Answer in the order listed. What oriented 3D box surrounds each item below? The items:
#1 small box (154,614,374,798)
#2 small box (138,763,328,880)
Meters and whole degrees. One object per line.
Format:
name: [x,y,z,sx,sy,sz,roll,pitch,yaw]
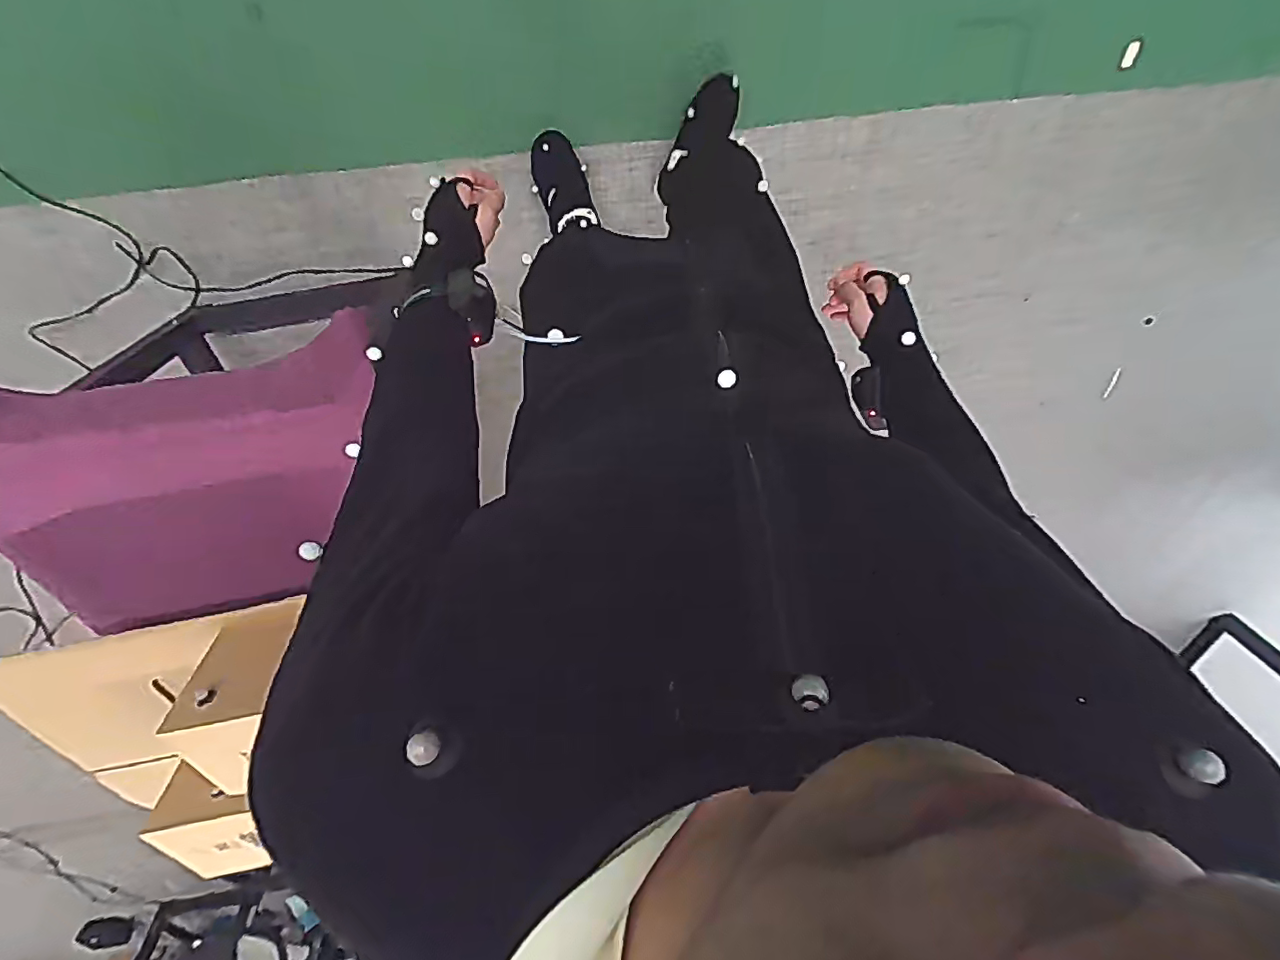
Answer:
small box: [-0.522,0.321,0.785,0.179,0.176,0.168,-11,125,-2]
small box: [-0.649,0.524,0.900,0.179,0.176,0.168,-11,124,-1]
